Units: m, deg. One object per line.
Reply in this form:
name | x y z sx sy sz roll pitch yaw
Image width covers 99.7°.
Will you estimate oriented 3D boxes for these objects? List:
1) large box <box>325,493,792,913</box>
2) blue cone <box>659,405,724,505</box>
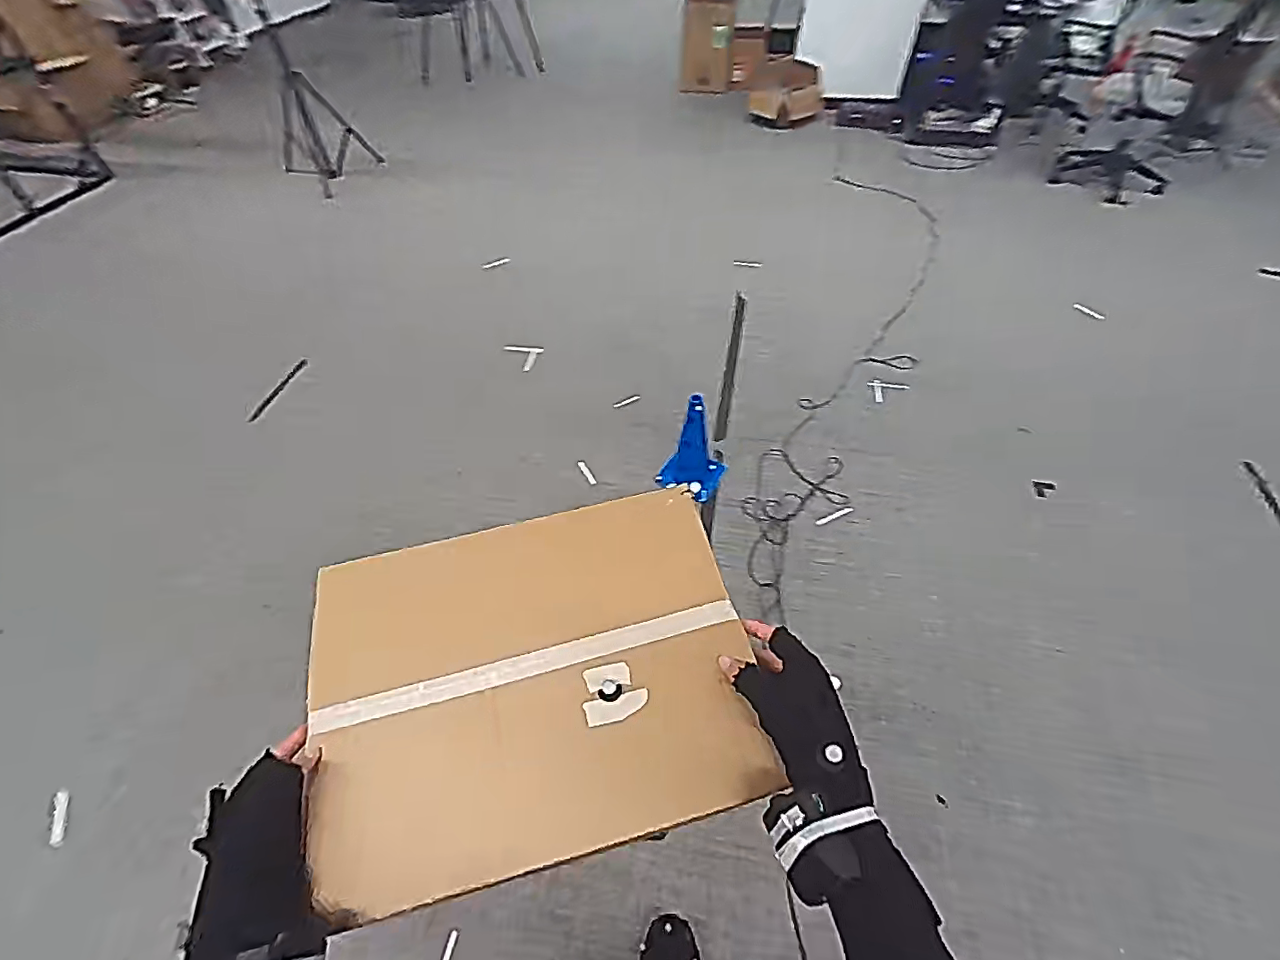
large box | -0.091 0.262 0.651 0.408 0.320 0.320 -11 57 -7
blue cone | 0.182 -0.108 1.807 0.193 0.380 0.192 26 56 22
